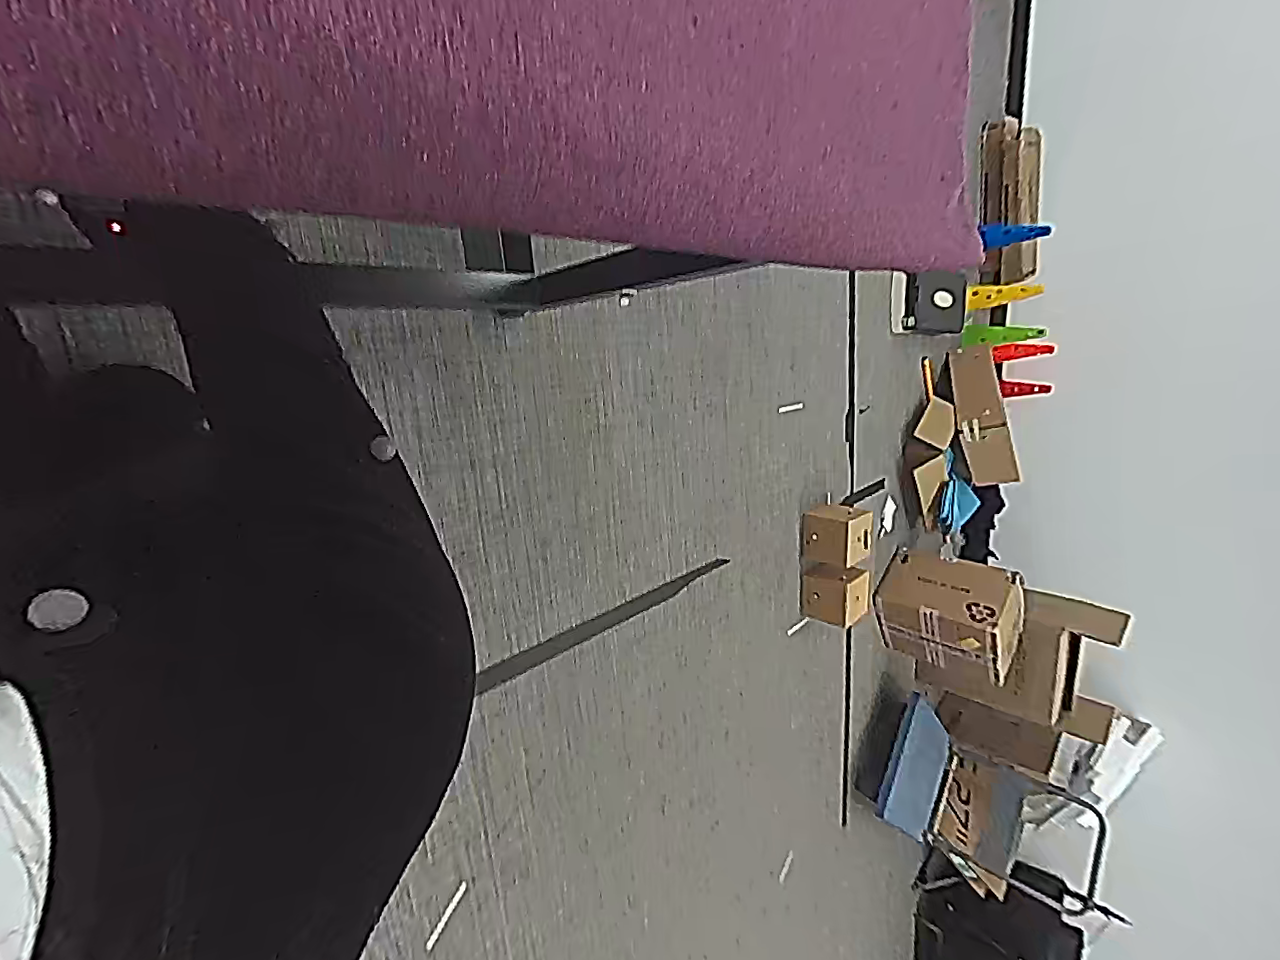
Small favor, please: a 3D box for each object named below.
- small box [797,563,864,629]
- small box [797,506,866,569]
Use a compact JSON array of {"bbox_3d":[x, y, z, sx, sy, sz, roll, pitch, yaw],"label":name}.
[{"bbox_3d":[0.694,0.414,1.970,0.179,0.176,0.168,-16,108,-43],"label":"small box"},{"bbox_3d":[0.678,0.195,1.912,0.179,0.176,0.168,-13,106,-43],"label":"small box"}]
